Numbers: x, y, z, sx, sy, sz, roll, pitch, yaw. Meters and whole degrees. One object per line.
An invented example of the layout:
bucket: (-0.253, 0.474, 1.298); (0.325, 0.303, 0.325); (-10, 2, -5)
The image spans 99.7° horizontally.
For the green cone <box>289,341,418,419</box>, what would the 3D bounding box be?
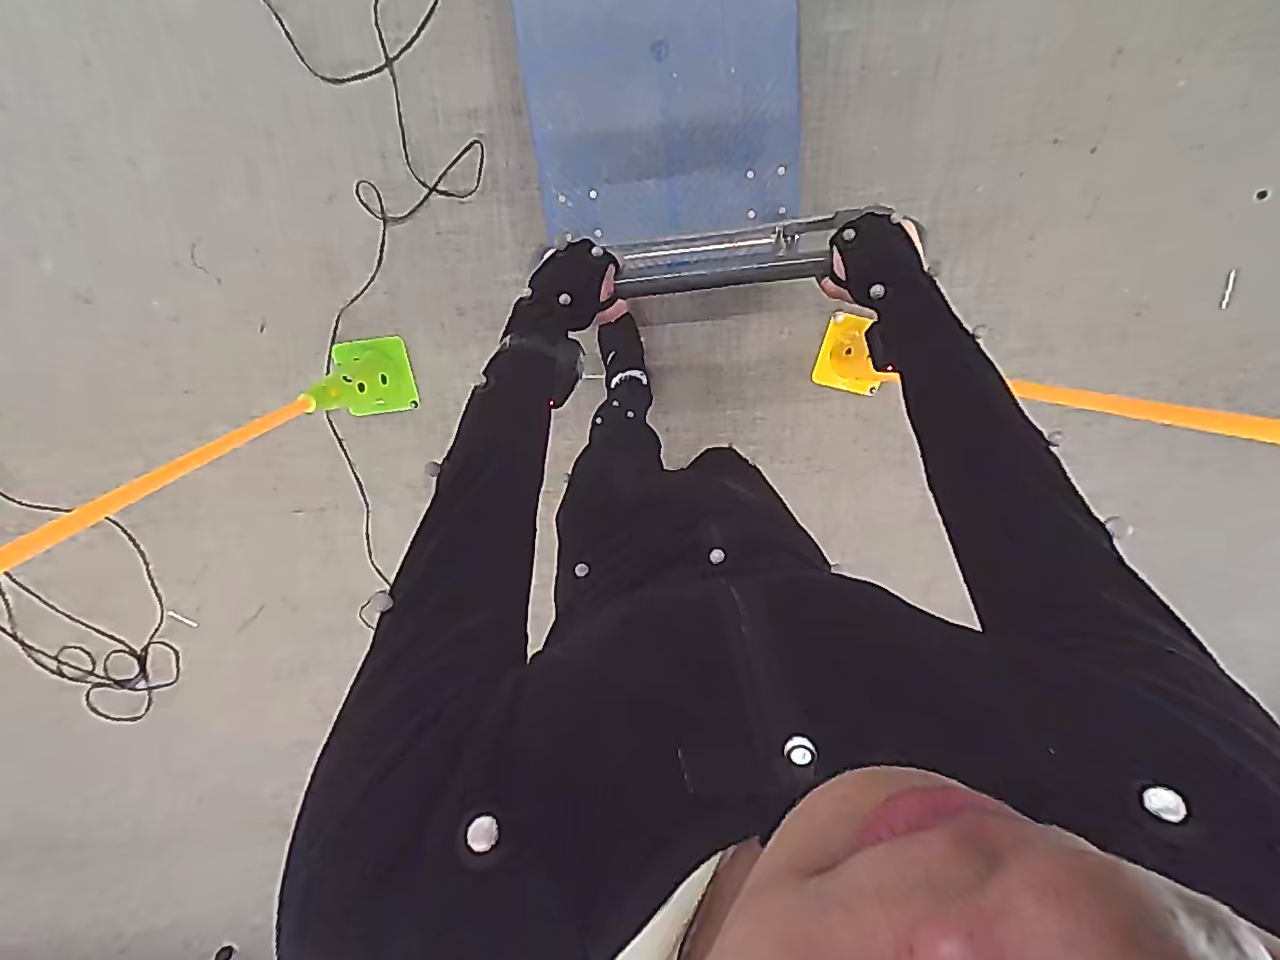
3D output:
green cone: (-0.723, -0.216, 1.318); (0.202, 0.368, 0.200); (-7, 109, 2)
